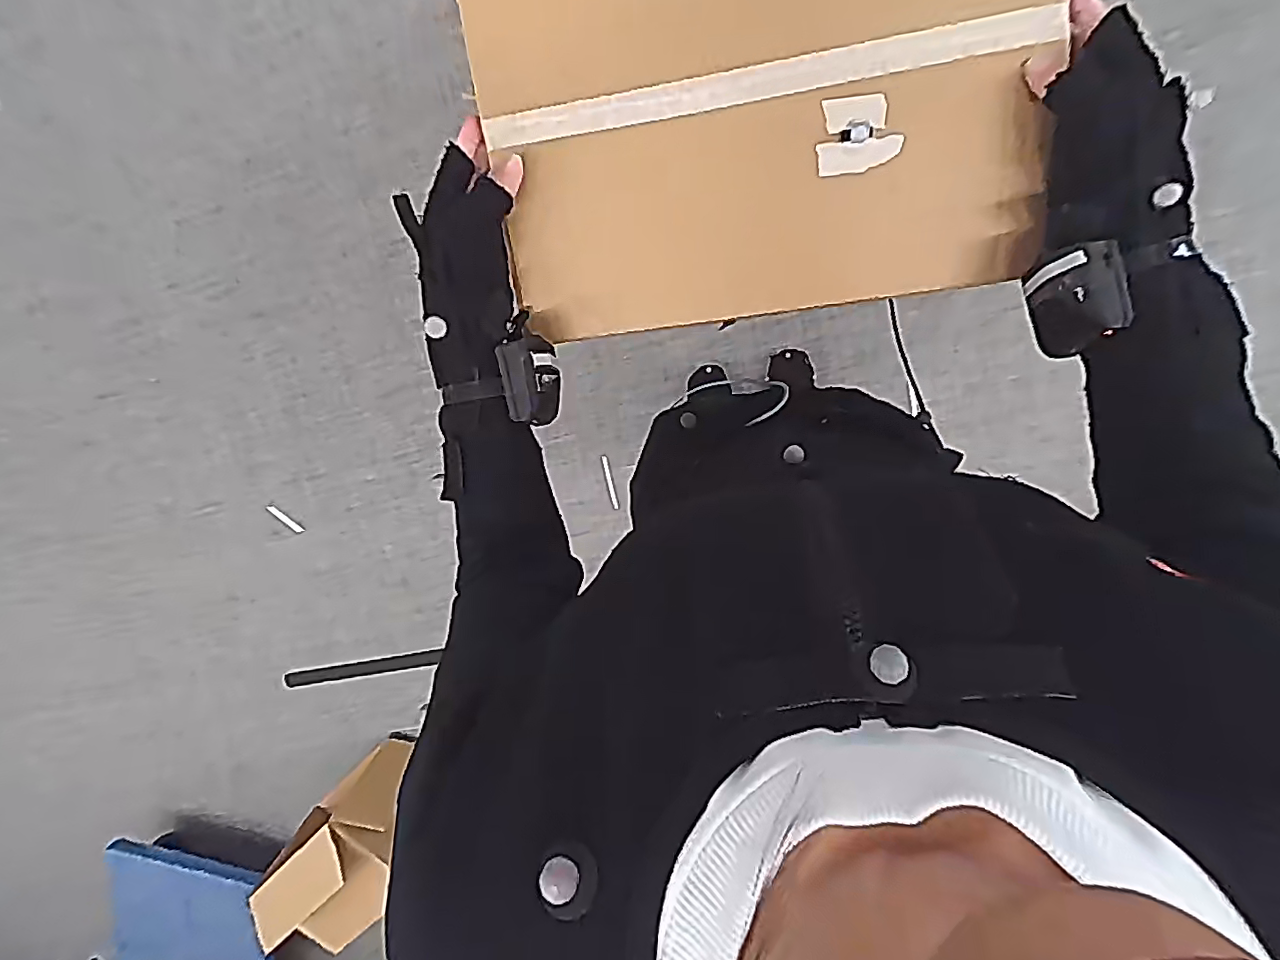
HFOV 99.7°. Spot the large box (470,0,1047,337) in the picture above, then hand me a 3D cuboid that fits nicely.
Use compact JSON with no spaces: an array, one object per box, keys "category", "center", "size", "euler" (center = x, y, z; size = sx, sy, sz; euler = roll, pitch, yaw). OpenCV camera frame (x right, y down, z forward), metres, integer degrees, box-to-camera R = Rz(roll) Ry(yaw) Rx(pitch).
[{"category":"large box","center":[0.094,-0.333,0.538],"size":[0.408,0.320,0.320],"euler":[-7,107,6]}]
